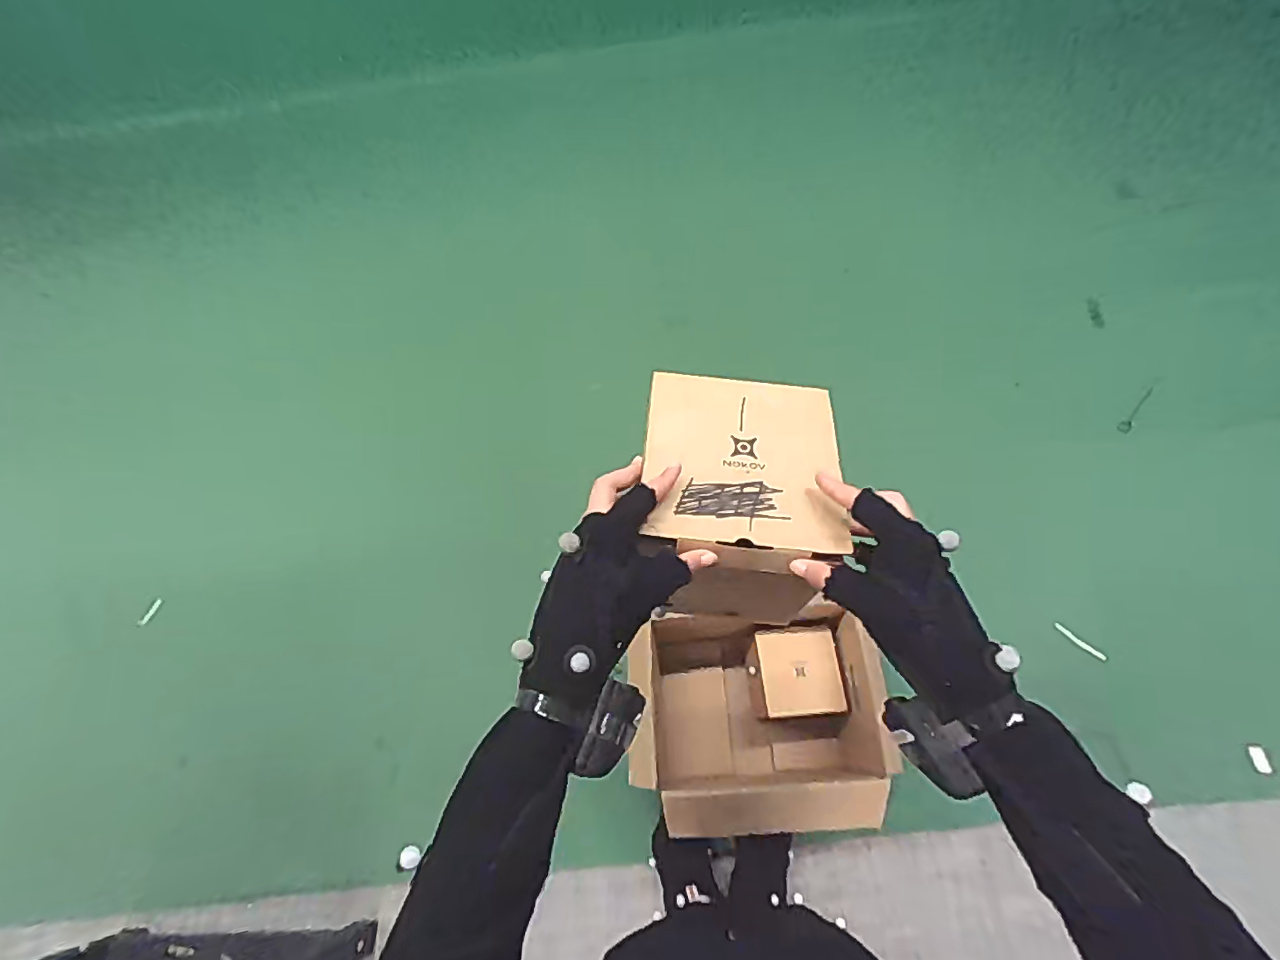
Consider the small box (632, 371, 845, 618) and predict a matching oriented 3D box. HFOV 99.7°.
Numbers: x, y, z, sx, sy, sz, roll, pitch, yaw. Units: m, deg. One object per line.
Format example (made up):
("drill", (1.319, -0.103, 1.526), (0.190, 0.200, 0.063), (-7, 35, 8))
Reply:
("small box", (0.082, 0.022, 0.522), (0.168, 0.176, 0.179), (6, 58, 1))
